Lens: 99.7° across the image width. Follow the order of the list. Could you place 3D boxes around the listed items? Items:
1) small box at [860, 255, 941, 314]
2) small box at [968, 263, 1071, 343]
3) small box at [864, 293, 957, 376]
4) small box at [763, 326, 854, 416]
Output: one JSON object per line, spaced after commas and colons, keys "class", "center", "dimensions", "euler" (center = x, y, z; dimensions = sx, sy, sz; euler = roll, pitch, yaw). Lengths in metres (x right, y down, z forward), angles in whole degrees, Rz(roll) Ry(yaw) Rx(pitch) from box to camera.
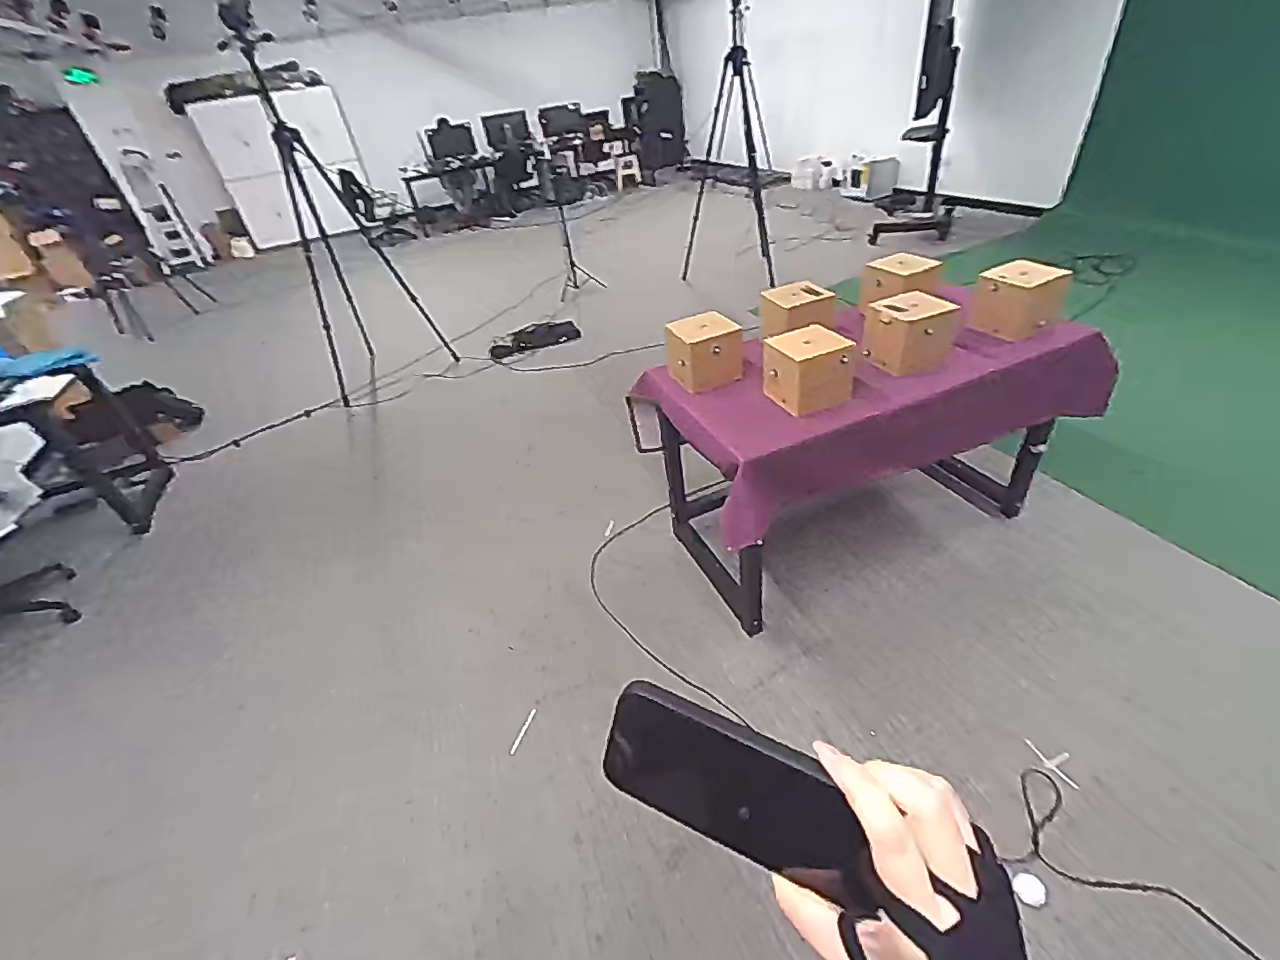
{"class": "small box", "center": [0.870, -0.643, 1.828], "dimensions": [0.168, 0.176, 0.179], "euler": [-22, 39, -15]}
{"class": "small box", "center": [1.134, -0.535, 1.632], "dimensions": [0.179, 0.176, 0.168], "euler": [-20, 38, -14]}
{"class": "small box", "center": [0.769, -0.418, 1.559], "dimensions": [0.179, 0.176, 0.168], "euler": [-17, 38, -11]}
{"class": "small box", "center": [0.451, -0.294, 1.467], "dimensions": [0.179, 0.176, 0.168], "euler": [-18, 38, -13]}
